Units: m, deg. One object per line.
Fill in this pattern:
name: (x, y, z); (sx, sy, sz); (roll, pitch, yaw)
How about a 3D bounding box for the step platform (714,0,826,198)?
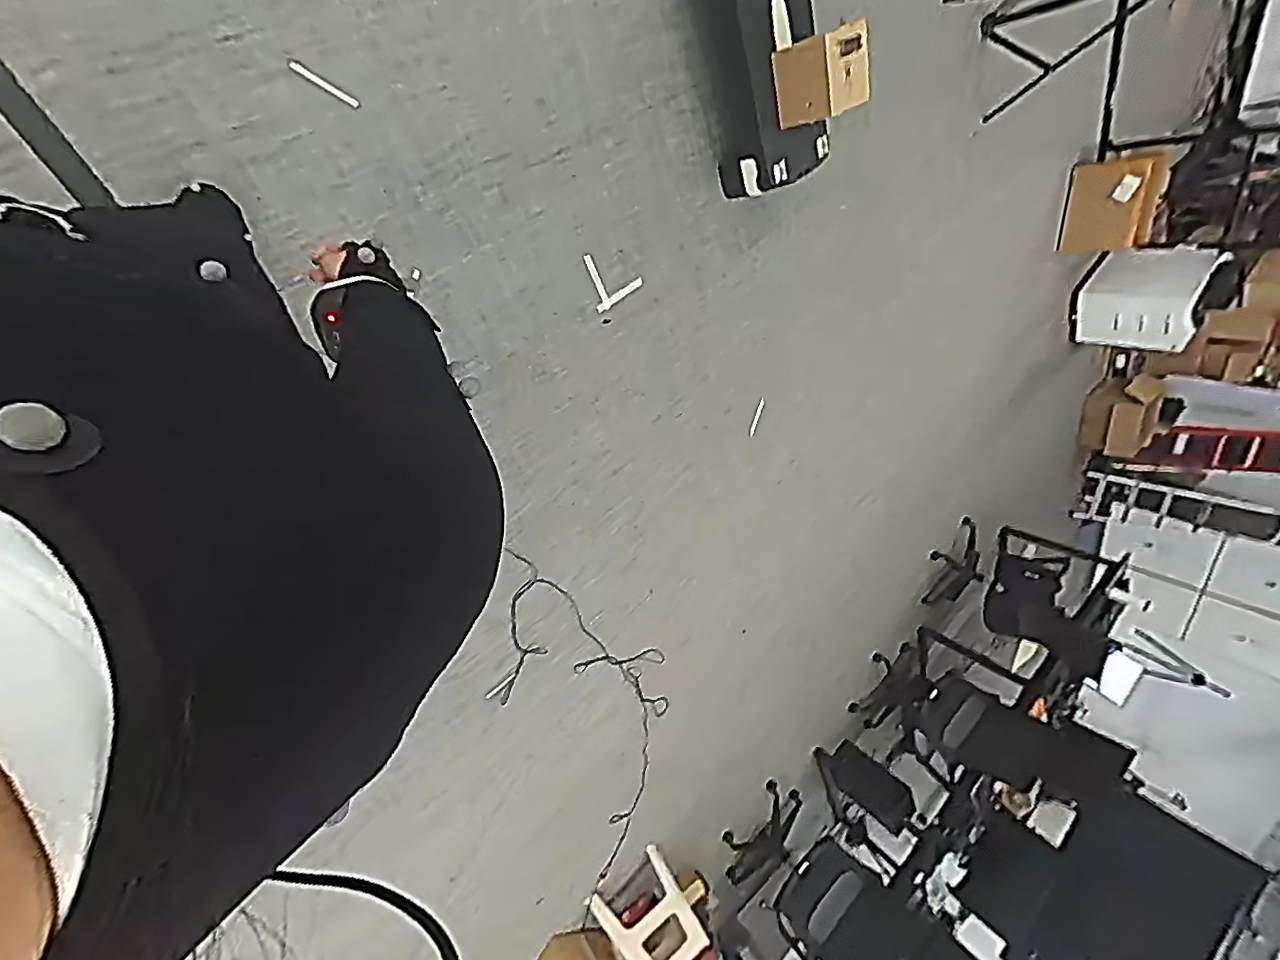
step platform: (0.323, -1.184, 1.509); (0.286, 0.204, 0.684); (-39, 127, -21)
